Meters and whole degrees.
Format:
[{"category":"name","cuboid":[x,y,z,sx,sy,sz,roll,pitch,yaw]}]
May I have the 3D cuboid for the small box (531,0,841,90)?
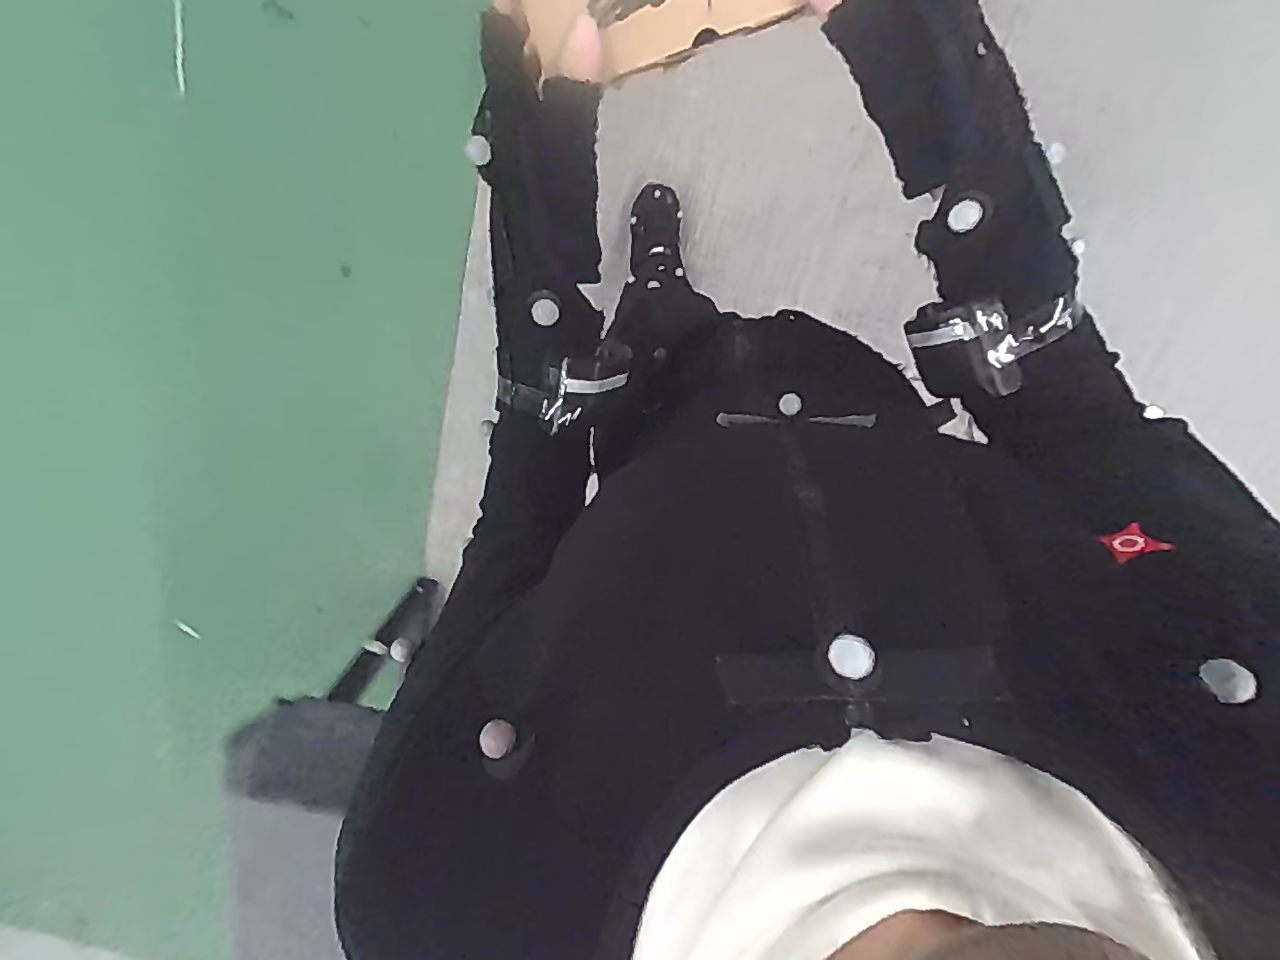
[{"category":"small box","cuboid":[0.012,-0.342,0.286,0.168,0.176,0.179,-13,129,9]}]
